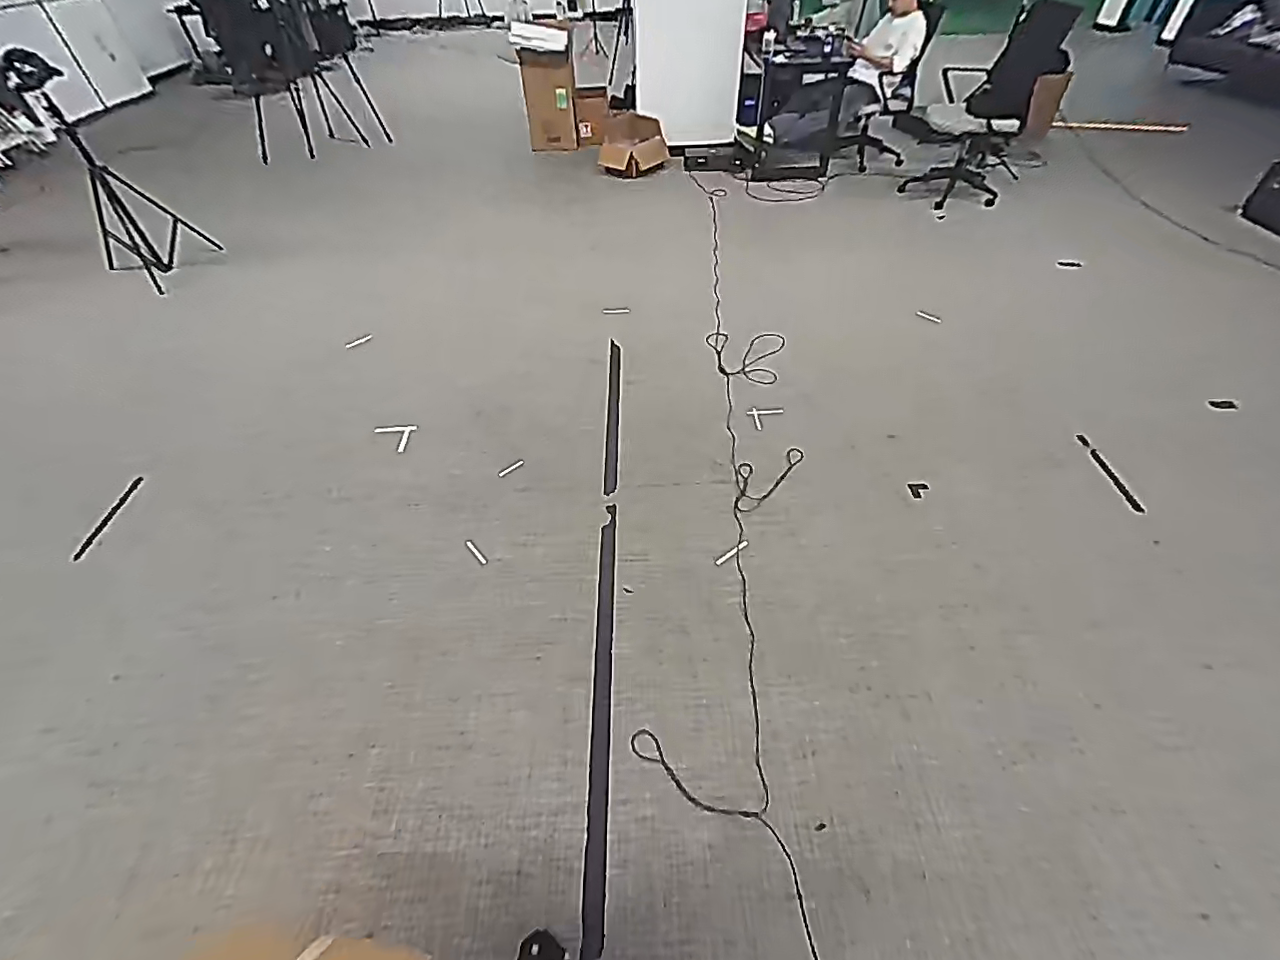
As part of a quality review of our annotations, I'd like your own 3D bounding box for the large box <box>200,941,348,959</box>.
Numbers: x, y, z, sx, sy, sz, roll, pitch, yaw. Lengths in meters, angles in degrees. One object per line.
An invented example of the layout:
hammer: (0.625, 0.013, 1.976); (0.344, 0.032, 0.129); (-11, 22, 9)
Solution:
large box: (-0.489, 0.798, 0.559); (0.320, 0.408, 0.320); (2, 80, 7)
